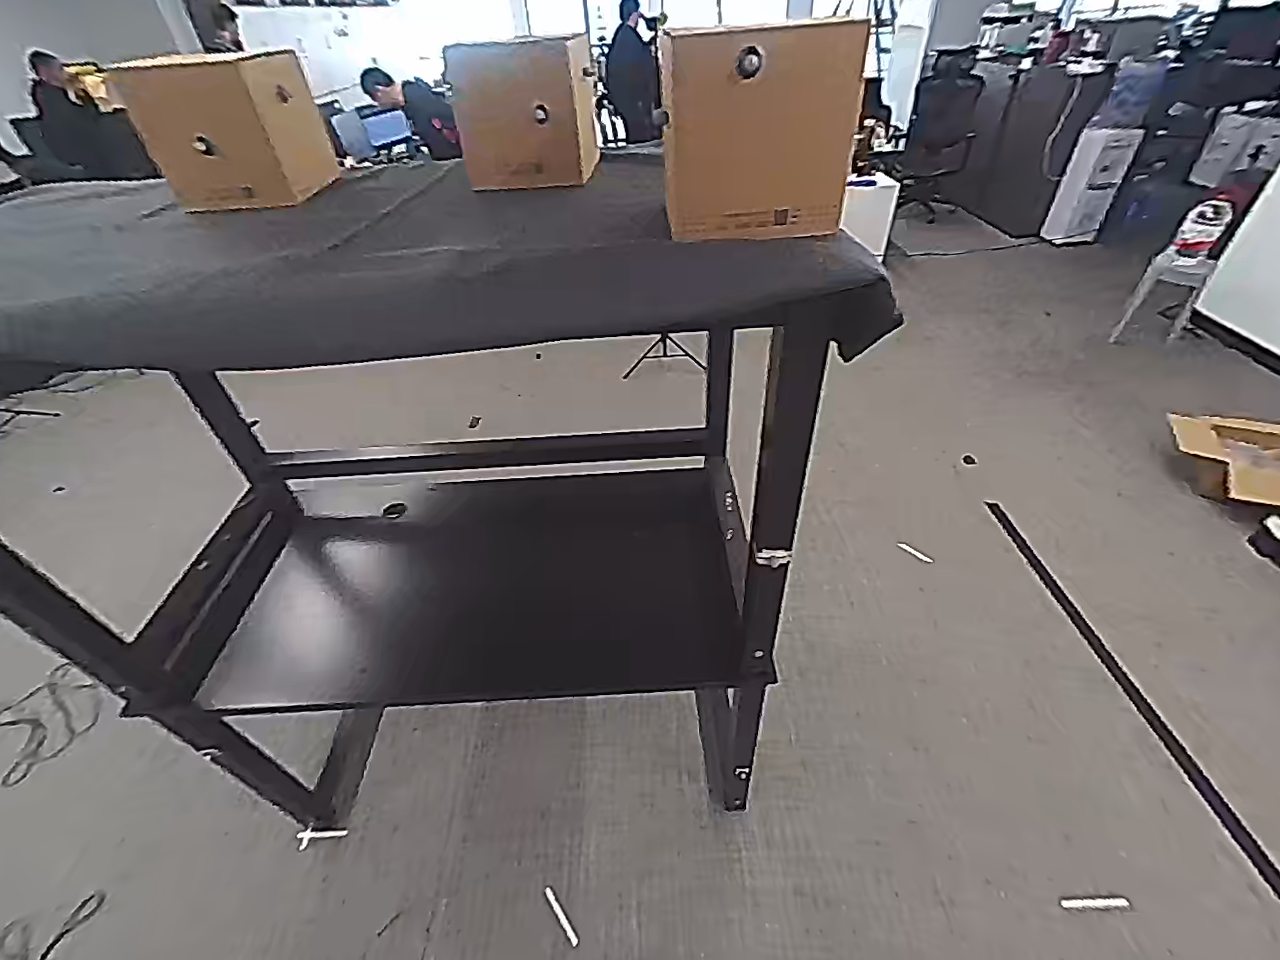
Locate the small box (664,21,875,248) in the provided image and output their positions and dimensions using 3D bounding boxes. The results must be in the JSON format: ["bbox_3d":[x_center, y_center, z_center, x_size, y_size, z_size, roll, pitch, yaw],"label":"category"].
[{"bbox_3d":[0.110,-0.348,0.548,0.168,0.176,0.179,-4,40,1],"label":"small box"}]

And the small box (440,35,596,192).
[{"bbox_3d":[-0.158,-0.523,0.776,0.168,0.176,0.179,1,41,4],"label":"small box"}]

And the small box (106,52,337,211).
[{"bbox_3d":[-0.570,-0.493,0.772,0.168,0.176,0.179,-3,41,0],"label":"small box"}]
